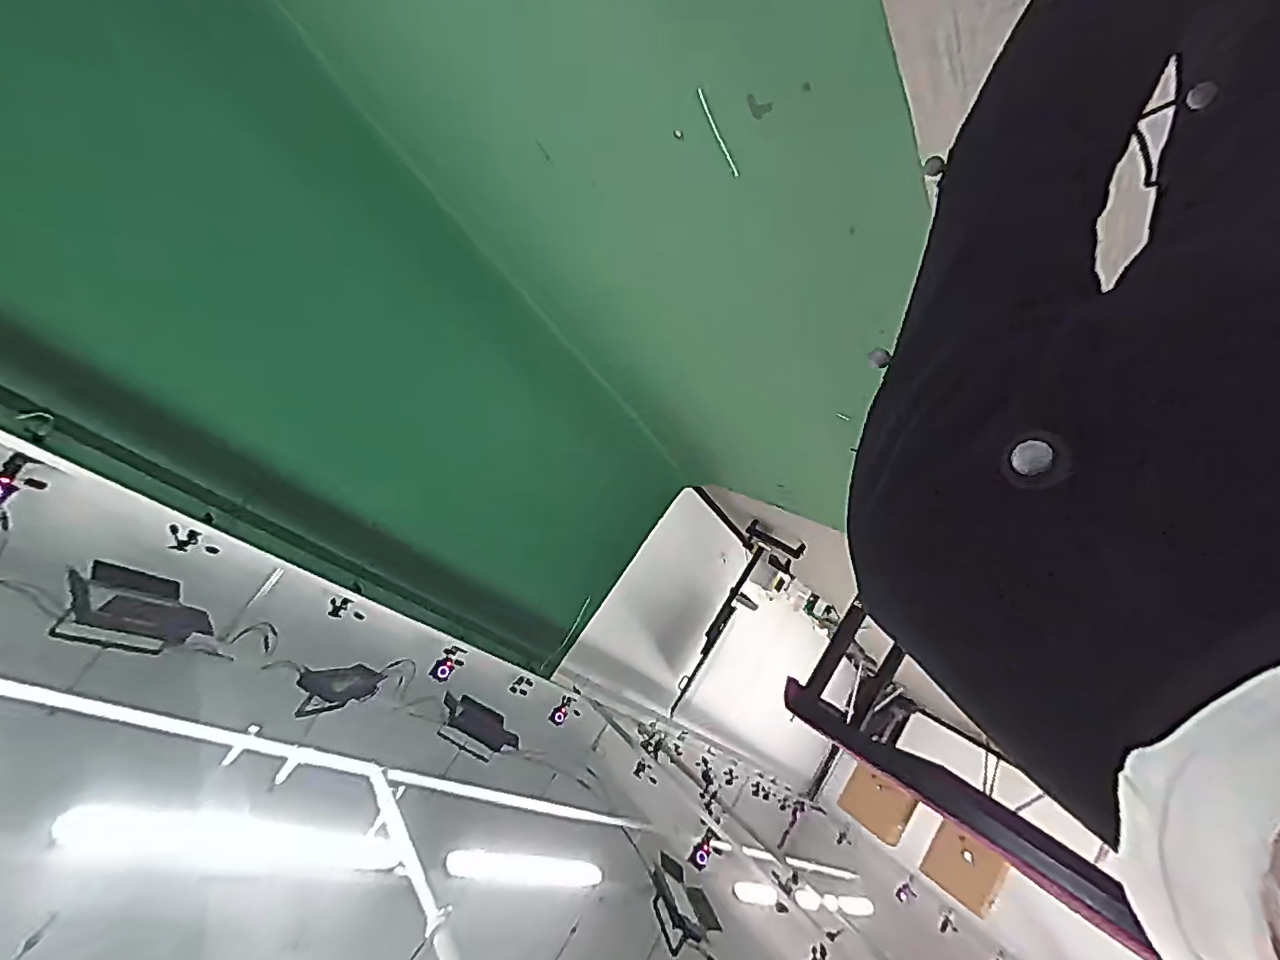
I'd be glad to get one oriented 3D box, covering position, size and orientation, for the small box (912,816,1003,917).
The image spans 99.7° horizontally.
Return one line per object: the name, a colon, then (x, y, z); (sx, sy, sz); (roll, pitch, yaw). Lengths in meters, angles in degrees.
small box: (0.915, 1.103, 1.549); (0.168, 0.176, 0.179); (22, 163, 47)
